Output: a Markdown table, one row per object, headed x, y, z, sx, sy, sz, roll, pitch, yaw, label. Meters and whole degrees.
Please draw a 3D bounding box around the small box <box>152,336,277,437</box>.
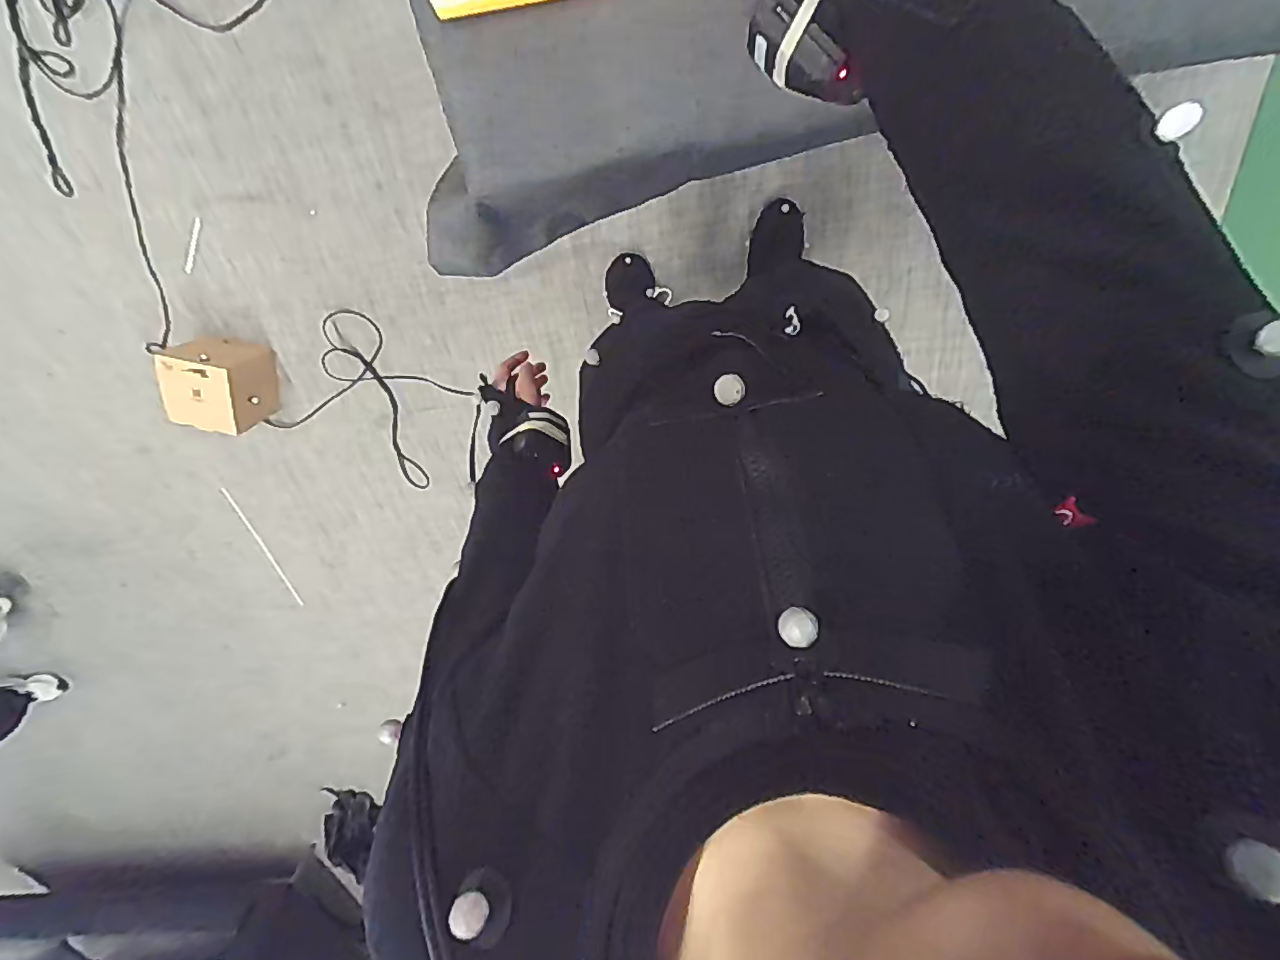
| x | y | z | sx | sy | sz | roll | pitch | yaw | label |
| --- | --- | --- | --- | --- | --- | --- | --- | --- | --- |
| -1.031 | -0.233 | 1.331 | 0.168 | 0.176 | 0.179 | 13 | 120 | -3 | small box |
